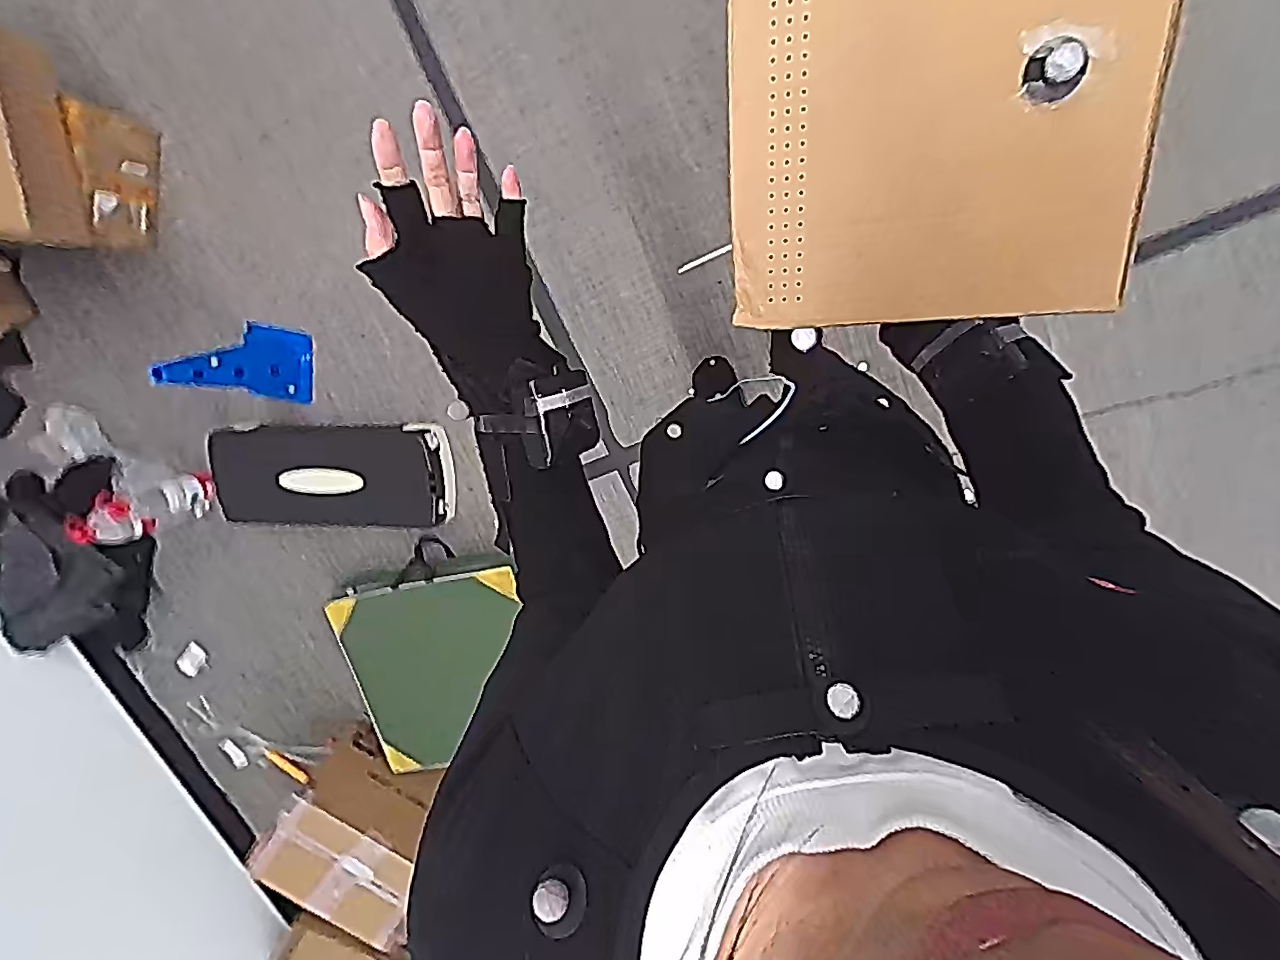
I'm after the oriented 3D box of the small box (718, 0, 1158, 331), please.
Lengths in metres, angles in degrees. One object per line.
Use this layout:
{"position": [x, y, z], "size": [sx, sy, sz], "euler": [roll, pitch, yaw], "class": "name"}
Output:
{"position": [0.134, -0.183, 0.307], "size": [0.176, 0.168, 0.179], "euler": [1, 109, 13], "class": "small box"}
